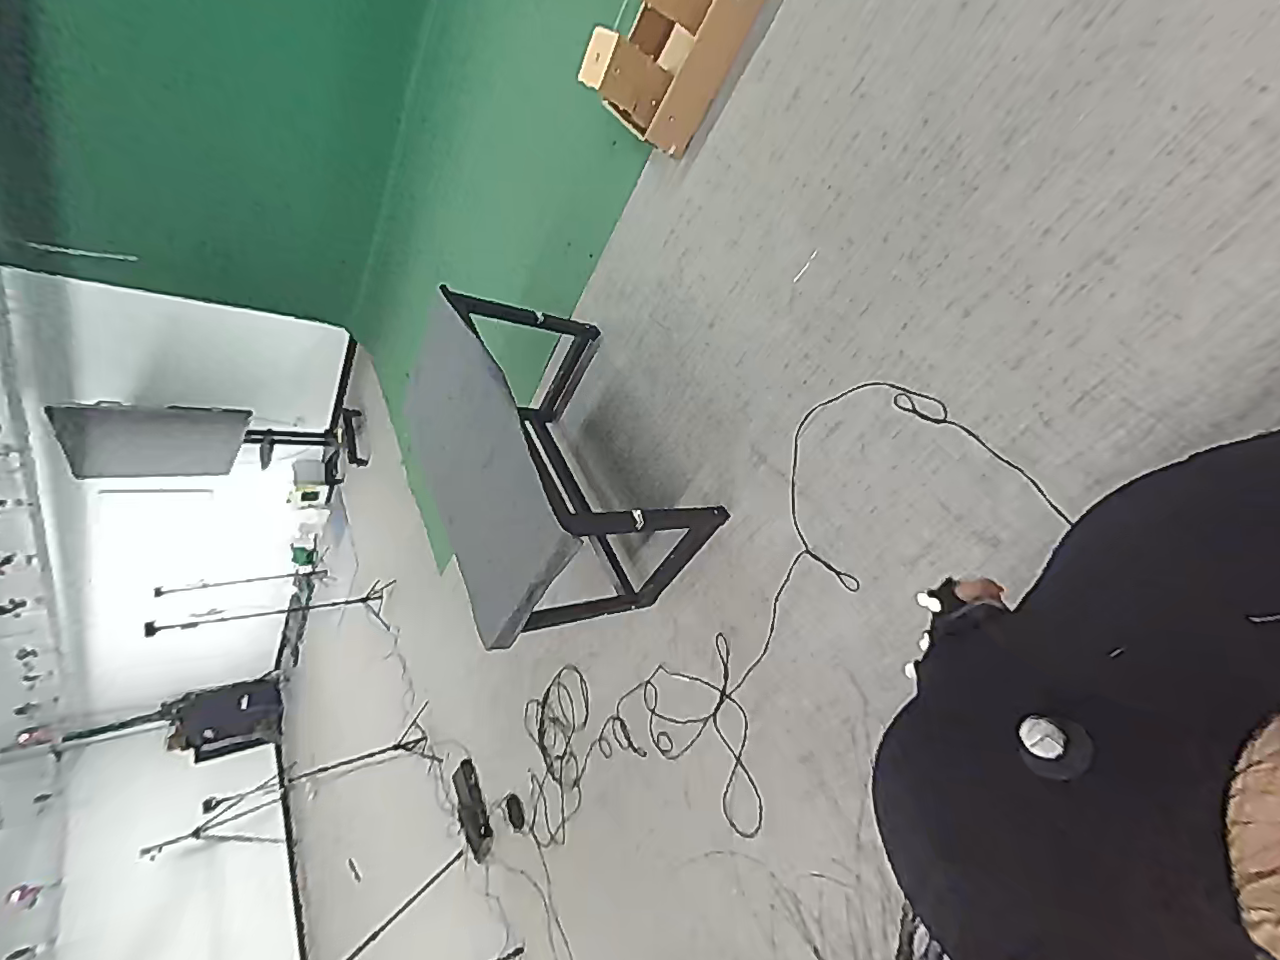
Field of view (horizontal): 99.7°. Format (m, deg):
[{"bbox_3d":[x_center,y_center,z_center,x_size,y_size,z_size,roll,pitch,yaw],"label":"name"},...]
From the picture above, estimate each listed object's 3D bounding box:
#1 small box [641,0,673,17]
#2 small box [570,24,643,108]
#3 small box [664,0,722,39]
[{"bbox_3d":[0.040,-1.698,1.781,0.179,0.176,0.168,-46,58,38],"label":"small box"},{"bbox_3d":[-0.118,-1.488,1.951,0.168,0.176,0.179,49,122,33],"label":"small box"},{"bbox_3d":[0.158,-1.704,1.895,0.168,0.176,0.179,-47,60,38],"label":"small box"}]
